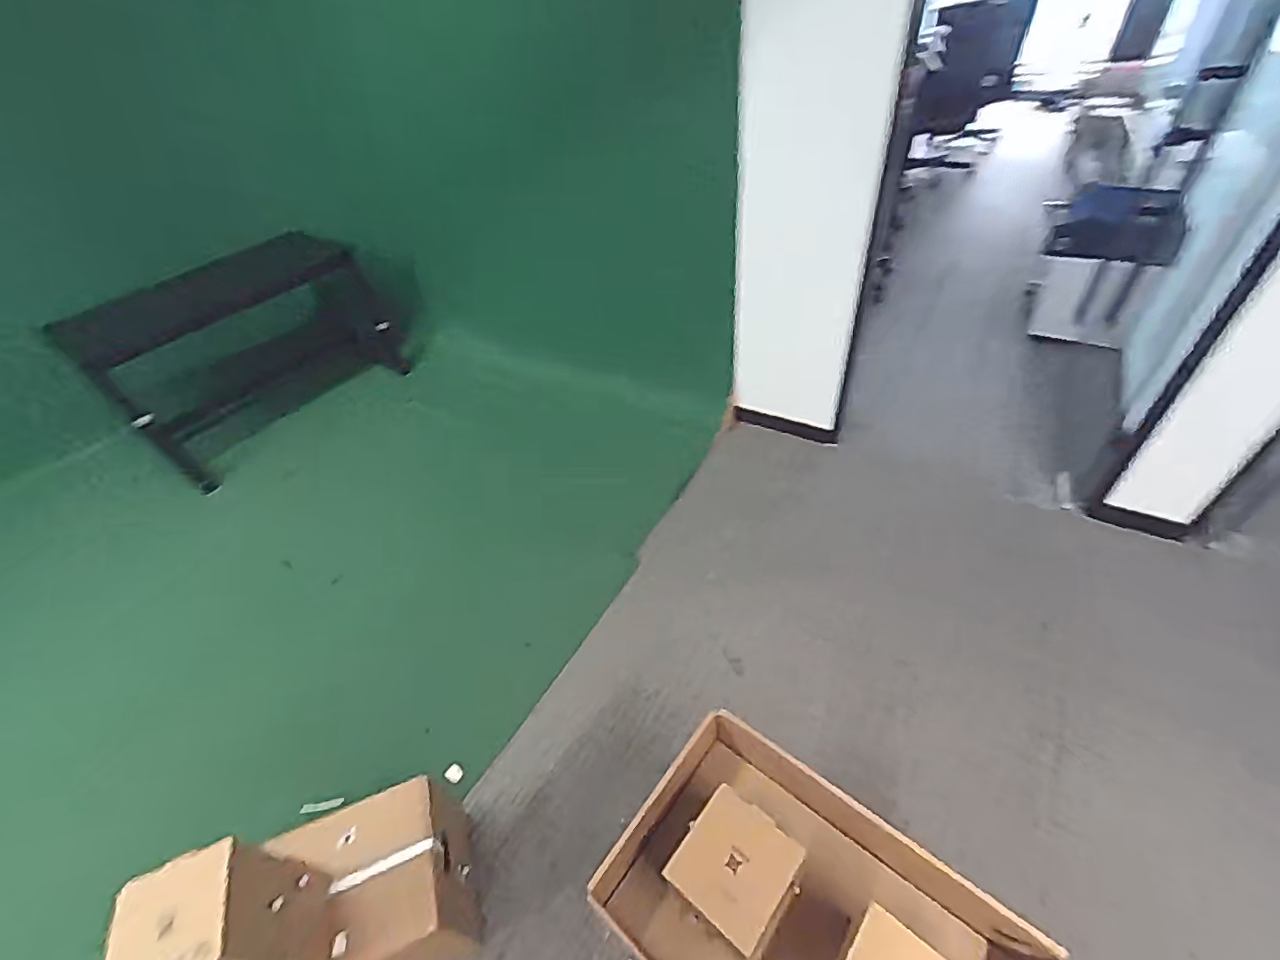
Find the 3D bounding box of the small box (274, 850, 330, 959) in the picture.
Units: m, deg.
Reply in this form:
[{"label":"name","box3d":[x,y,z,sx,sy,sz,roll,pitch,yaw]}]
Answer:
[{"label":"small box","box3d":[-0.704,0.840,1.010,0.168,0.176,0.179,-20,47,-12]}]

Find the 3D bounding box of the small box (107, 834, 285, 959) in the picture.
[{"label":"small box","box3d":[-0.714,0.730,0.888,0.168,0.176,0.179,-20,46,-13]}]

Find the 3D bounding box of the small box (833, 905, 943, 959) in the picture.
[{"label":"small box","box3d":[0.365,0.776,0.788,0.168,0.176,0.179,28,56,31]}]
